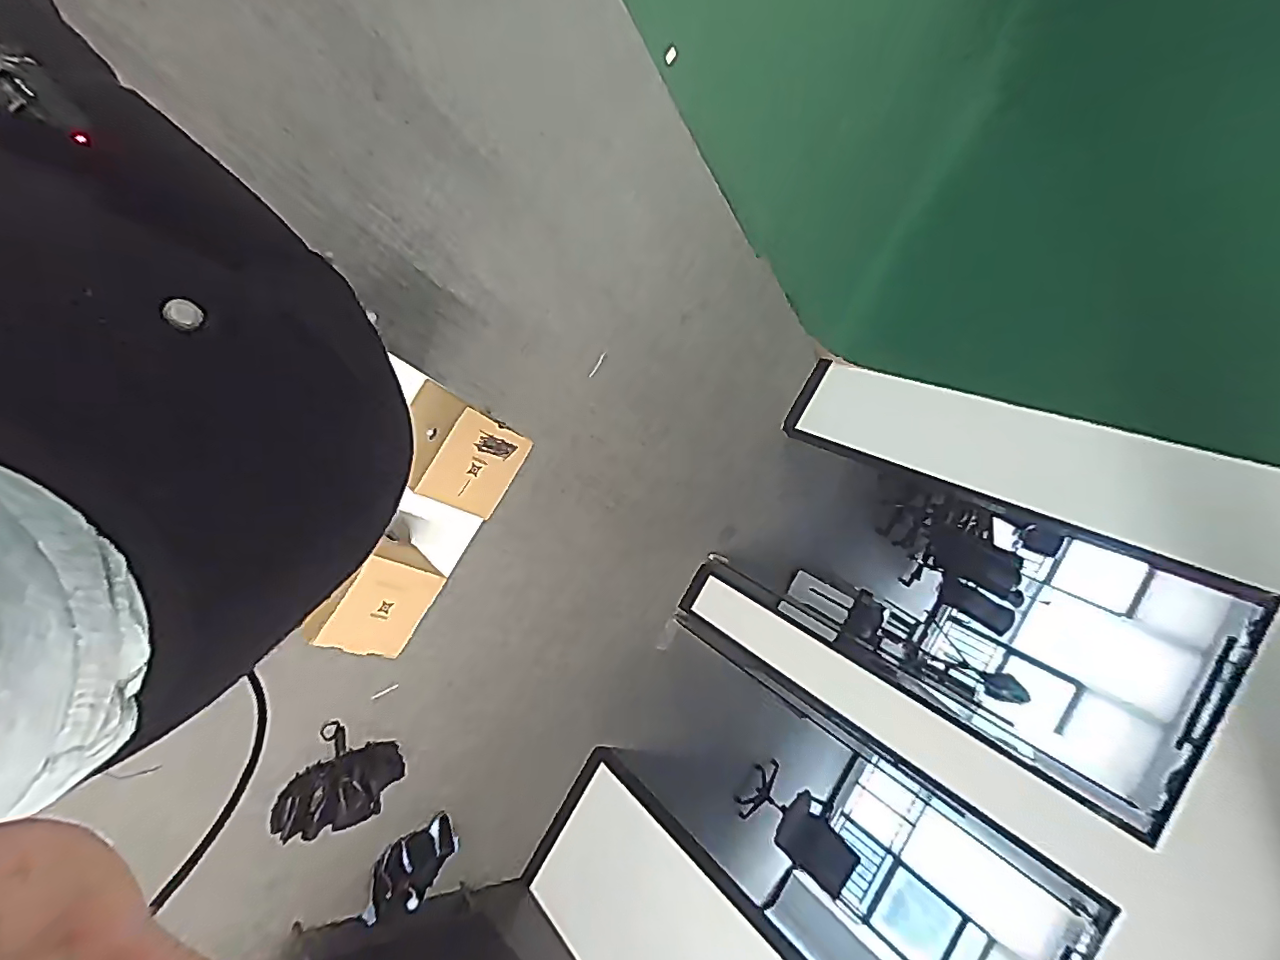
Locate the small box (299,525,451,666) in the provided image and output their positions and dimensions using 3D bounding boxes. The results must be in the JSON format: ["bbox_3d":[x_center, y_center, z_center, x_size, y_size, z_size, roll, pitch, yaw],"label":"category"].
[{"bbox_3d":[-0.490,0.210,0.992,0.179,0.176,0.168,-59,140,-5],"label":"small box"}]

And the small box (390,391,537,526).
[{"bbox_3d":[-0.334,-0.044,1.011,0.168,0.176,0.179,32,89,-50],"label":"small box"}]
